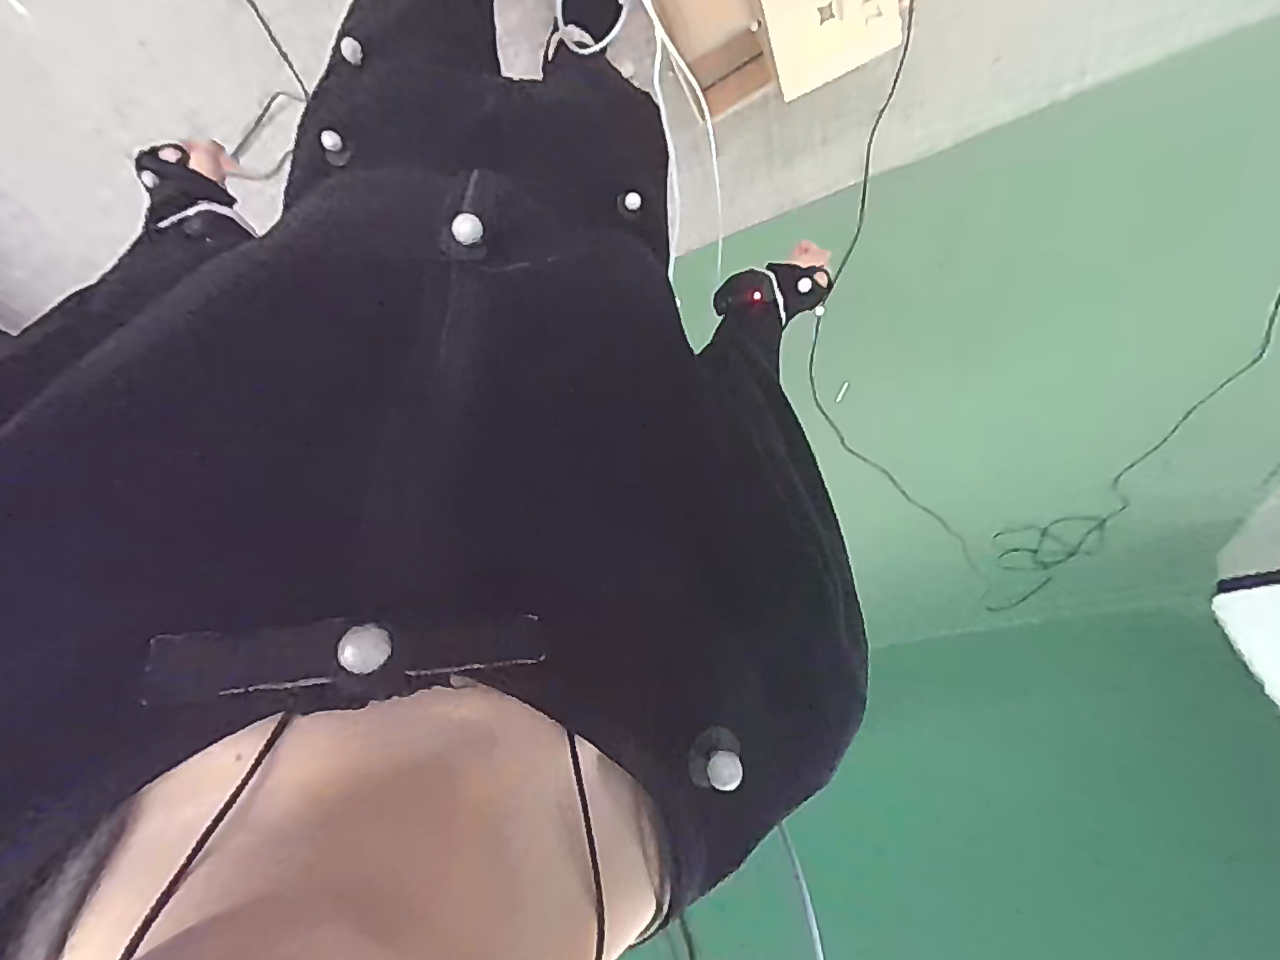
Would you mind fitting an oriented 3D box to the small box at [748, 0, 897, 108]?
[{"bbox_3d":[0.260,-0.704,0.802,0.179,0.176,0.168,-17,140,18],"label":"small box"}]
